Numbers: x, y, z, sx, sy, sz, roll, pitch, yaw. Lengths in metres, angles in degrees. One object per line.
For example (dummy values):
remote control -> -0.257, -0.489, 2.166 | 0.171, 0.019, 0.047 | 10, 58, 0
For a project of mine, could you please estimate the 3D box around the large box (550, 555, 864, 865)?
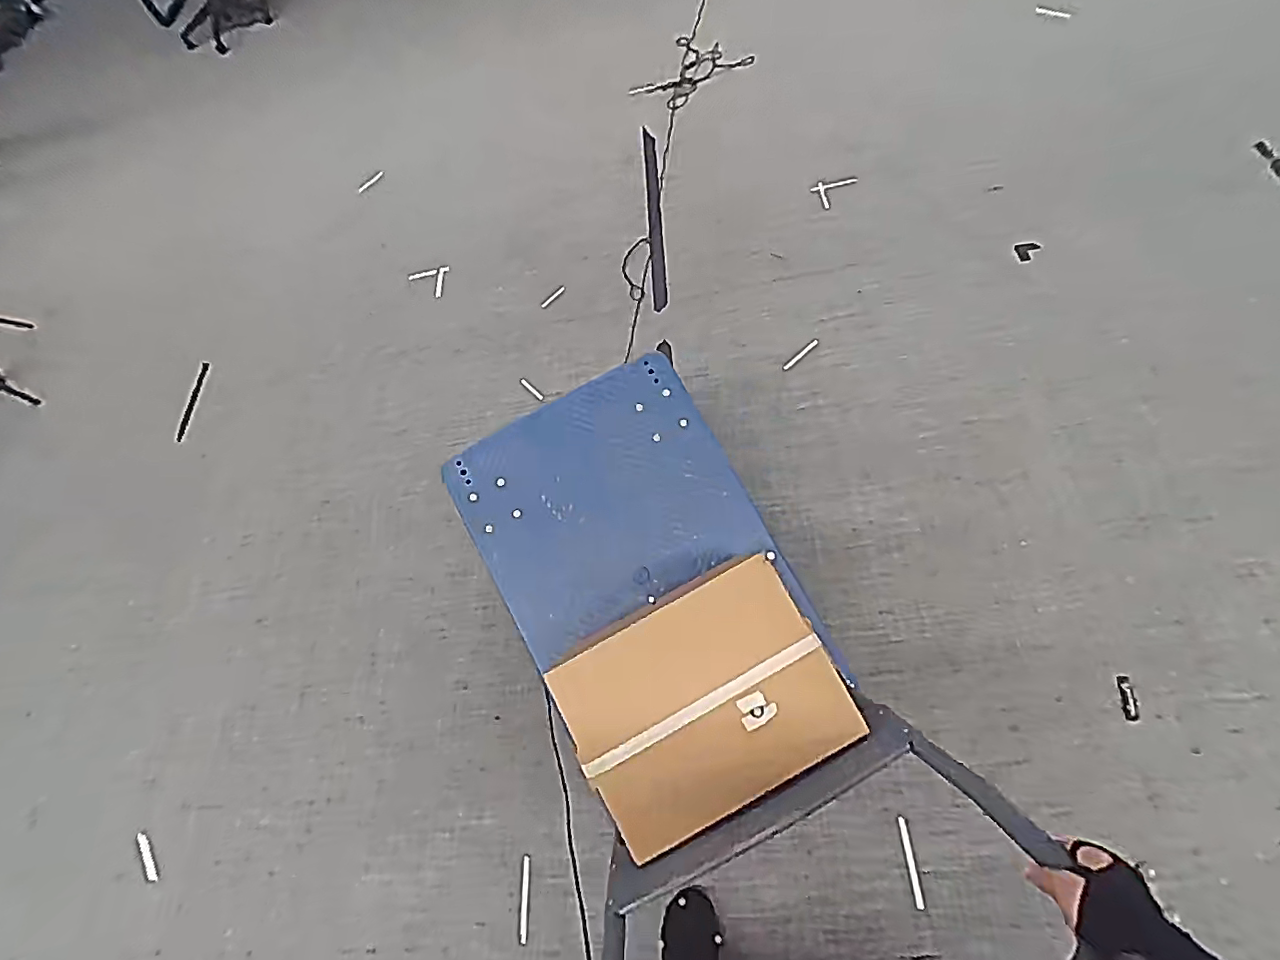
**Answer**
large box -> 0.104, 0.375, 0.985 | 0.408, 0.320, 0.320 | -29, 82, -4
